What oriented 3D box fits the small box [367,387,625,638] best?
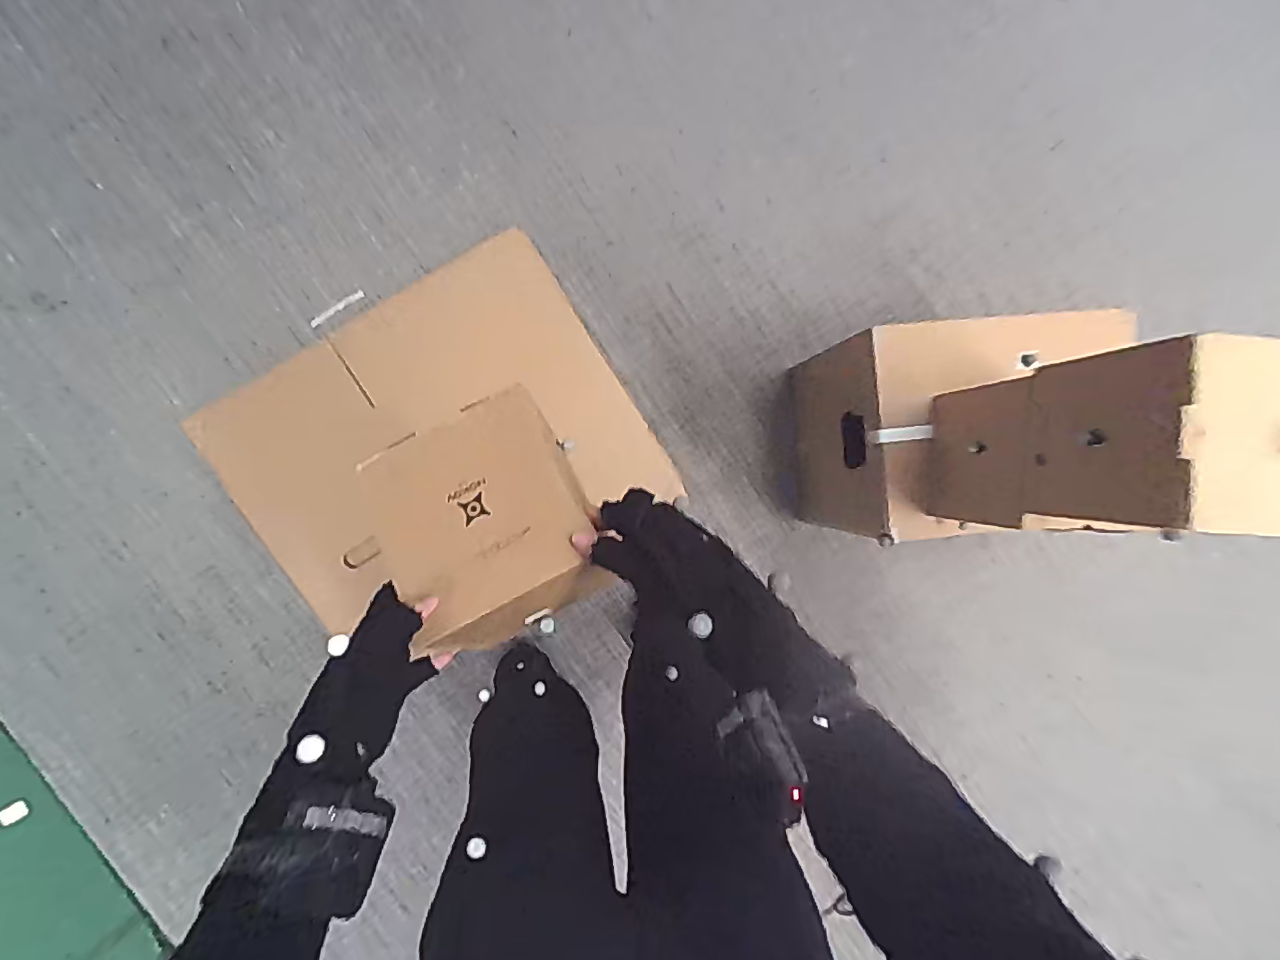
[{"bbox_3d":[-0.129,0.045,0.543,0.168,0.176,0.179,-29,73,-3],"label":"small box"}]

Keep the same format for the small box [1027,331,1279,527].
[{"bbox_3d":[0.520,-0.039,0.532,0.179,0.176,0.168,0,89,-6],"label":"small box"}]

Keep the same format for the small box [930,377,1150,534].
[{"bbox_3d":[0.499,-0.028,0.692,0.168,0.176,0.179,1,90,-5],"label":"small box"}]
